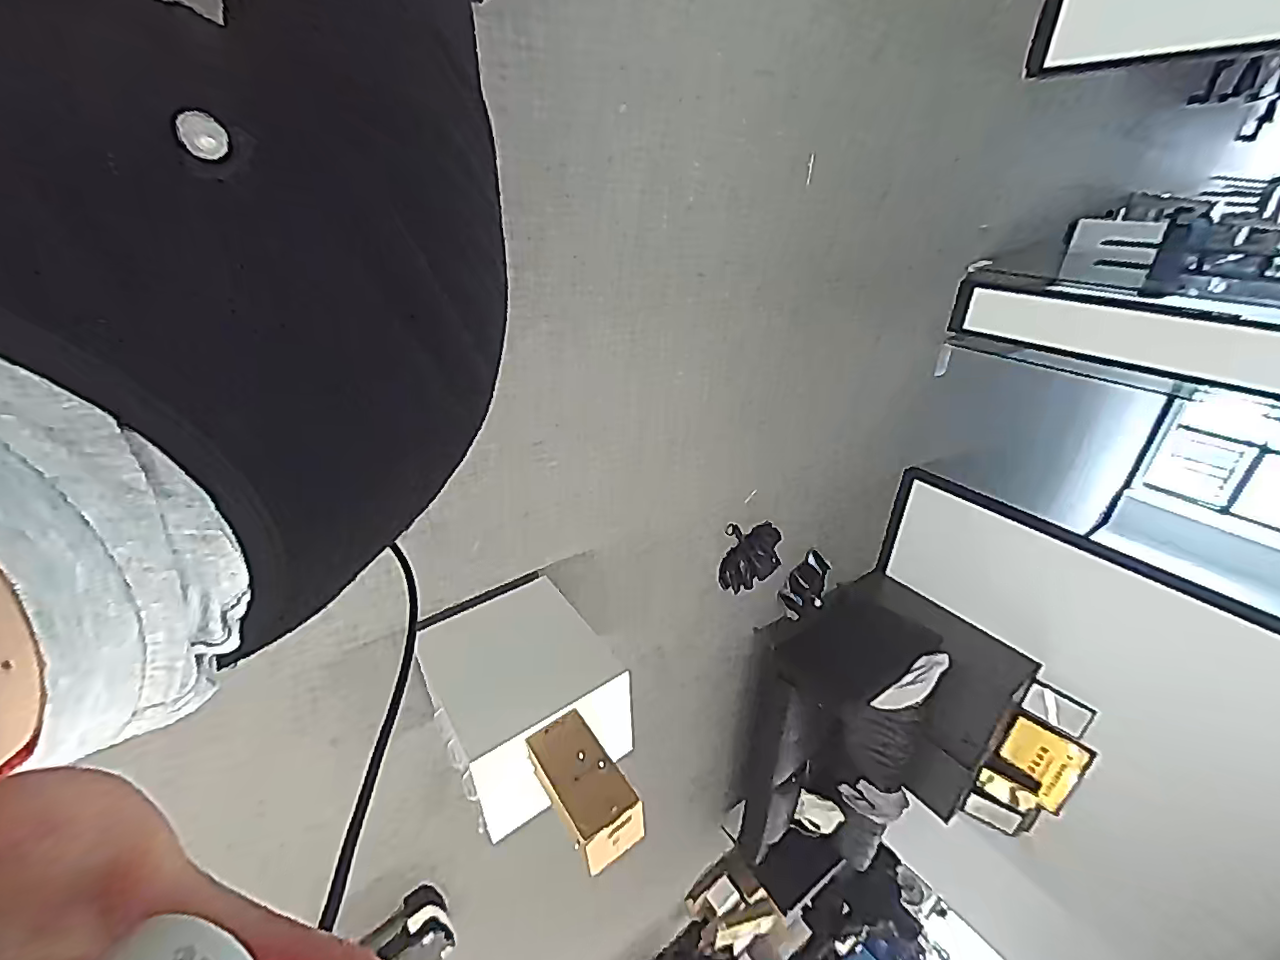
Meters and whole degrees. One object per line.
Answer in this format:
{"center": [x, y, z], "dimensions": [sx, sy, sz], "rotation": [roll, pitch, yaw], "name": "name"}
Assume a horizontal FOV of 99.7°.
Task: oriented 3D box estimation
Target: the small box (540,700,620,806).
{"center": [-0.165, 0.768, 1.533], "dimensions": [0.168, 0.176, 0.179], "rotation": [-26, 130, -28], "name": "small box"}

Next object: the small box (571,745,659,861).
{"center": [-0.068, 0.836, 1.418], "dimensions": [0.168, 0.176, 0.179], "rotation": [-25, 129, -28], "name": "small box"}
